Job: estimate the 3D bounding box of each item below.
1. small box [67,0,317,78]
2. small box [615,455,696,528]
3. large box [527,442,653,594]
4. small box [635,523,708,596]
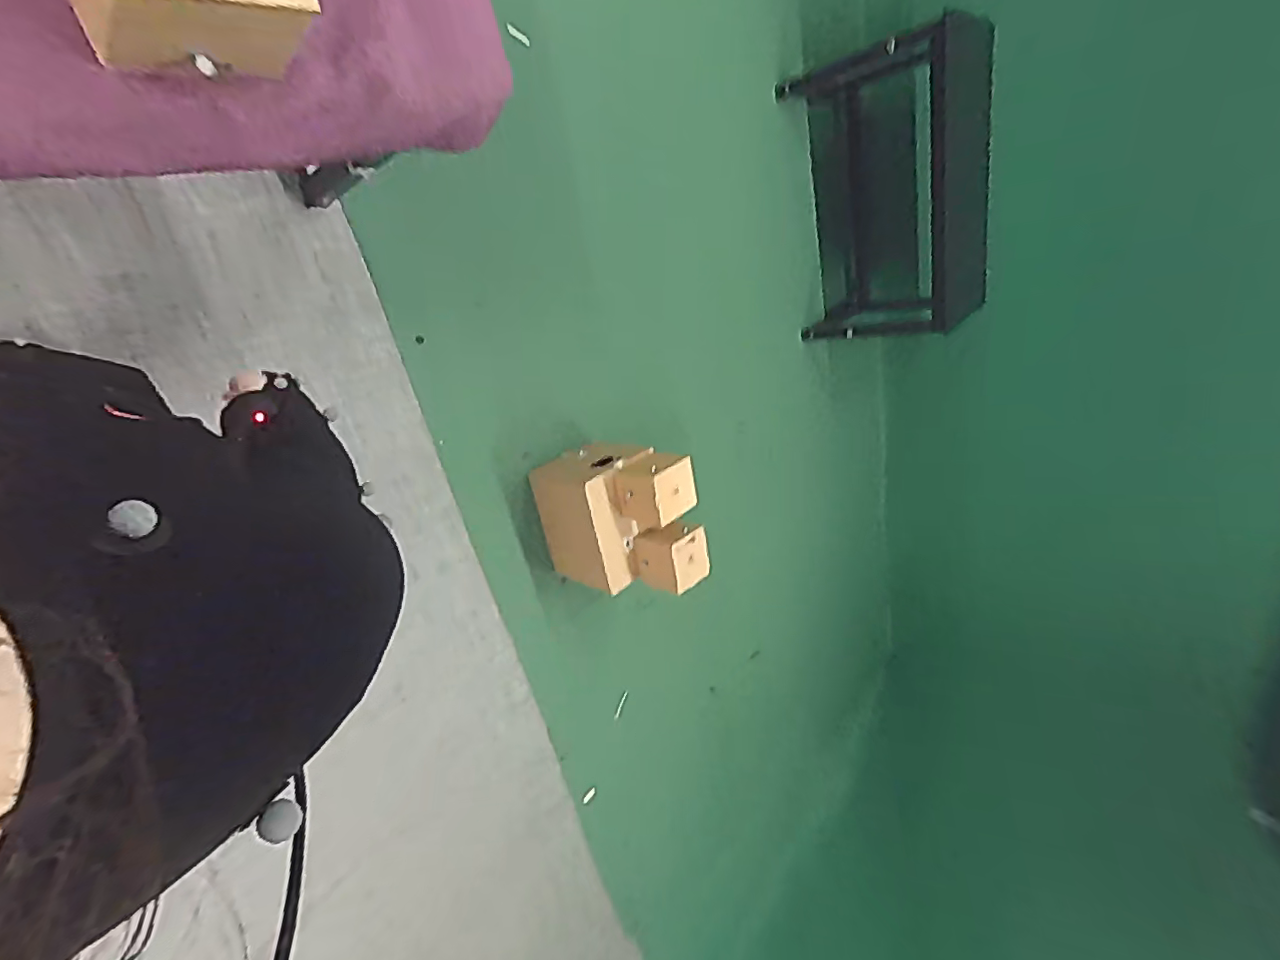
[{"bbox_3d":[-0.439,-0.507,0.494,0.168,0.176,0.179,-32,119,-38],"label":"small box"},{"bbox_3d":[0.050,0.028,1.693,0.179,0.176,0.168,-30,118,-39],"label":"small box"},{"bbox_3d":[-0.136,0.115,1.868,0.320,0.320,0.408,-30,118,-38],"label":"large box"},{"bbox_3d":[0.104,0.253,1.785,0.168,0.176,0.179,-25,114,-41],"label":"small box"}]
